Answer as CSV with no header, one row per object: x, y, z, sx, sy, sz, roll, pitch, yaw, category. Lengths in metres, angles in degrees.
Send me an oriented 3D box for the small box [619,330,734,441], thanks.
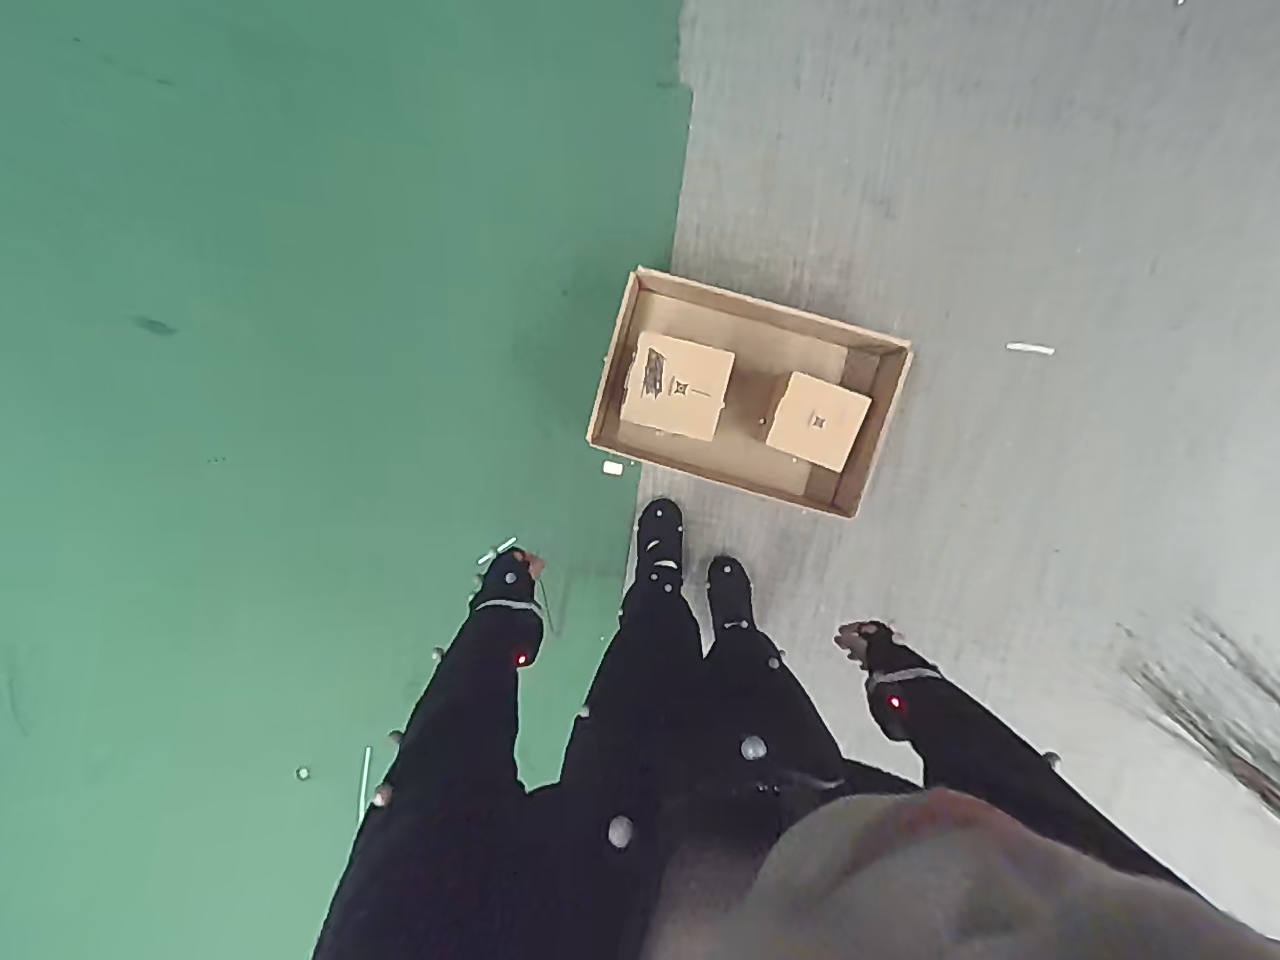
0.067,-0.177,1.049,0.179,0.176,0.168,14,97,0,small box
